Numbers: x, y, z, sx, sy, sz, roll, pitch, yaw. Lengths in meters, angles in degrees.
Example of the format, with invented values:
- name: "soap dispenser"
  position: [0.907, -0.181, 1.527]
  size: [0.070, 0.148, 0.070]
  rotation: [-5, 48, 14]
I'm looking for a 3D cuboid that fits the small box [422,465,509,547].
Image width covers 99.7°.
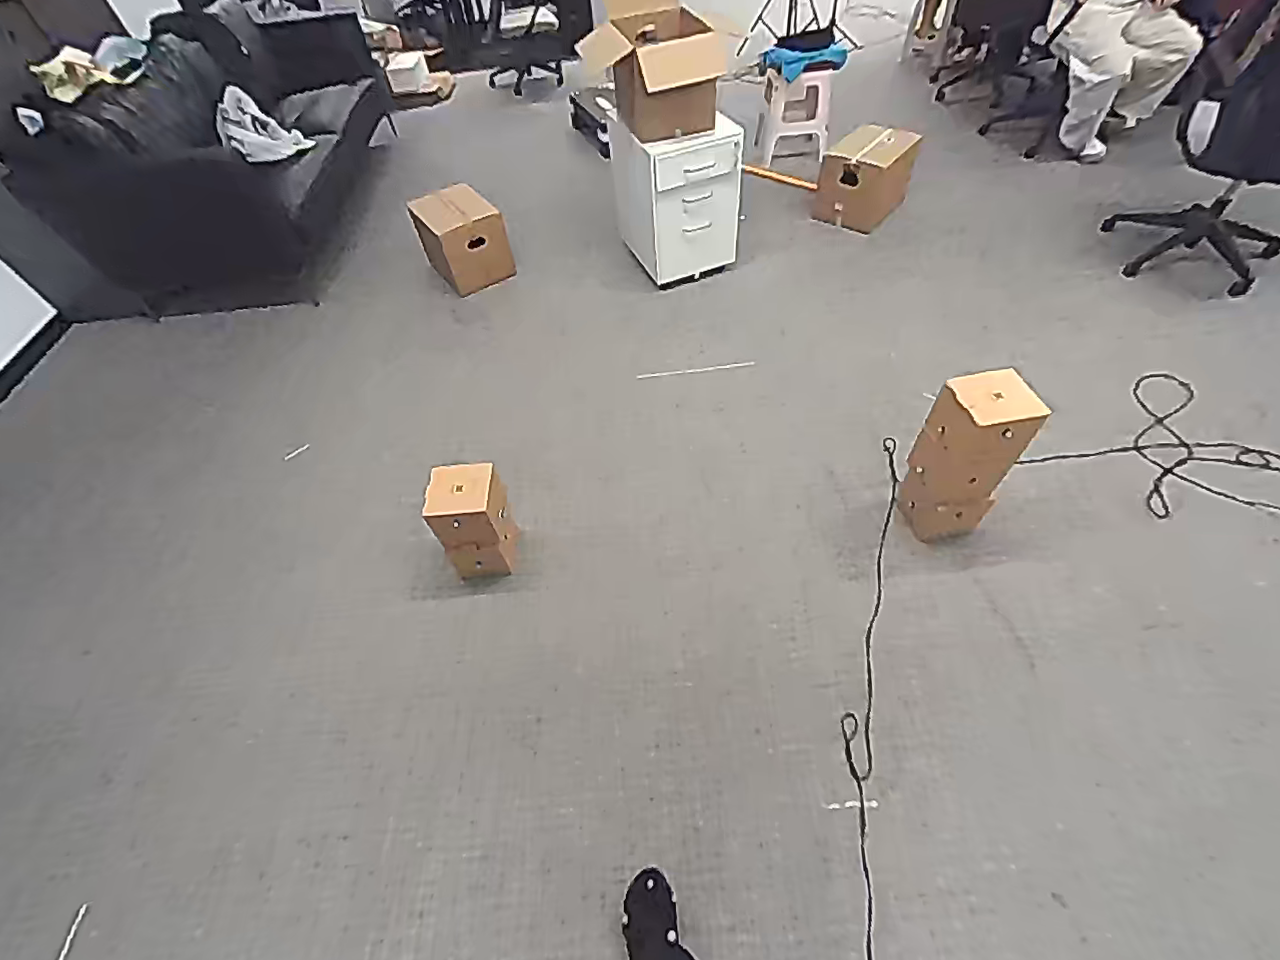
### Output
- name: "small box"
  position: [-0.489, 0.079, 1.540]
  size: [0.179, 0.176, 0.168]
  rotation: [-5, 53, 2]

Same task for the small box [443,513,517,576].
- name: "small box"
  position: [-0.484, 0.186, 1.664]
  size: [0.168, 0.176, 0.179]
  rotation: [-5, 52, 2]

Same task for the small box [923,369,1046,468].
- name: "small box"
  position: [0.853, -0.151, 1.360]
  size: [0.179, 0.176, 0.168]
  rotation: [-11, 51, -1]

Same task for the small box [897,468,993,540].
- name: "small box"
  position: [0.892, 0.058, 1.607]
  size: [0.179, 0.176, 0.168]
  rotation: [-12, 52, -4]

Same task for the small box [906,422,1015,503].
- name: "small box"
  position: [0.871, -0.056, 1.490]
  size: [0.179, 0.176, 0.168]
  rotation: [-10, 51, 0]
